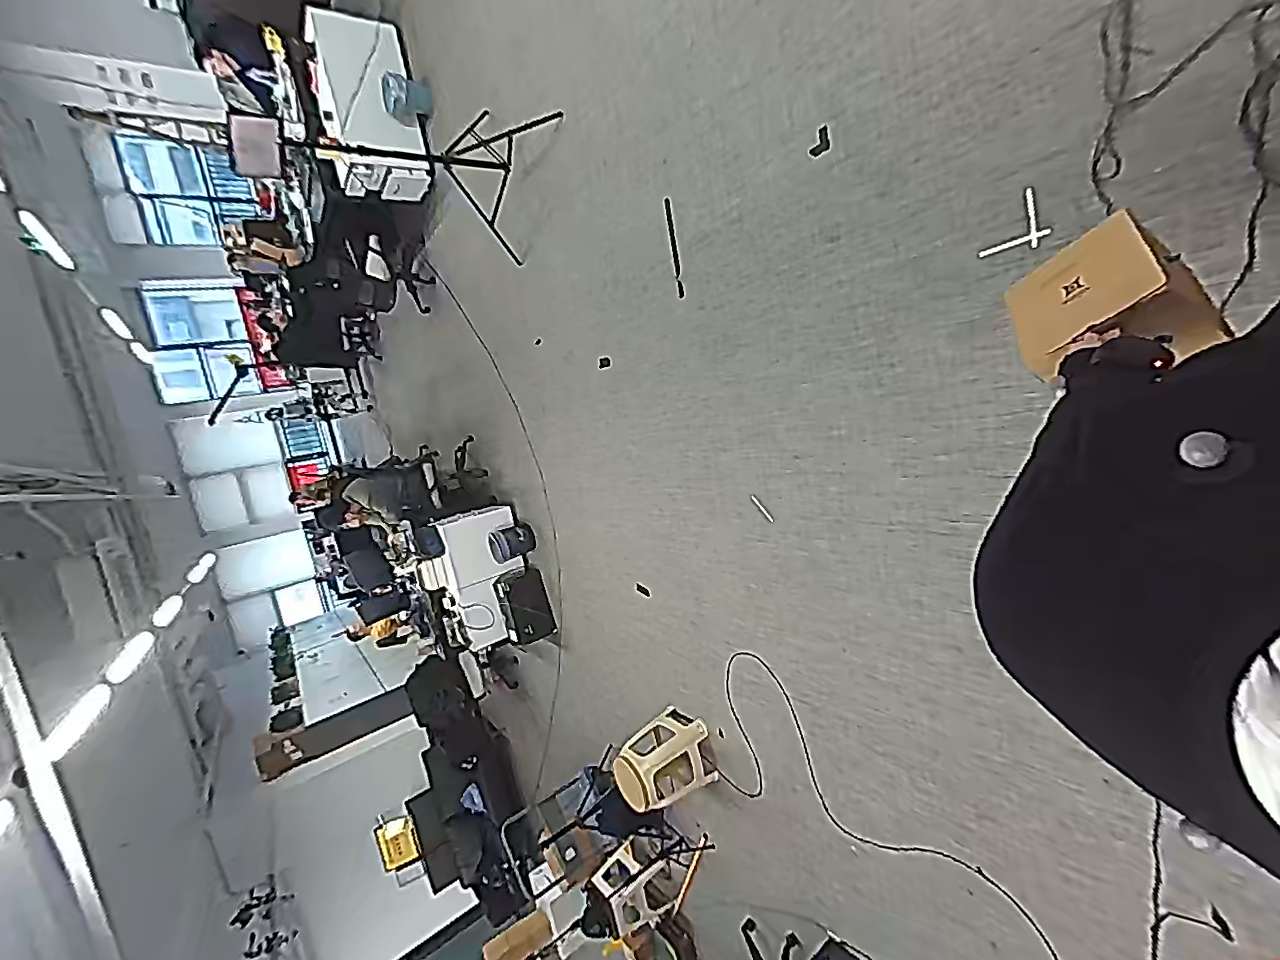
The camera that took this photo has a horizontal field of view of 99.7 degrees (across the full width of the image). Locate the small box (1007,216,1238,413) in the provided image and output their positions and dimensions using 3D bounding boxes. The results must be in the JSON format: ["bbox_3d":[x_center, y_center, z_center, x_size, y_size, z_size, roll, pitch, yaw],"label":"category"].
[{"bbox_3d":[0.660,-0.217,0.755,0.168,0.176,0.179,-42,25,50],"label":"small box"}]
